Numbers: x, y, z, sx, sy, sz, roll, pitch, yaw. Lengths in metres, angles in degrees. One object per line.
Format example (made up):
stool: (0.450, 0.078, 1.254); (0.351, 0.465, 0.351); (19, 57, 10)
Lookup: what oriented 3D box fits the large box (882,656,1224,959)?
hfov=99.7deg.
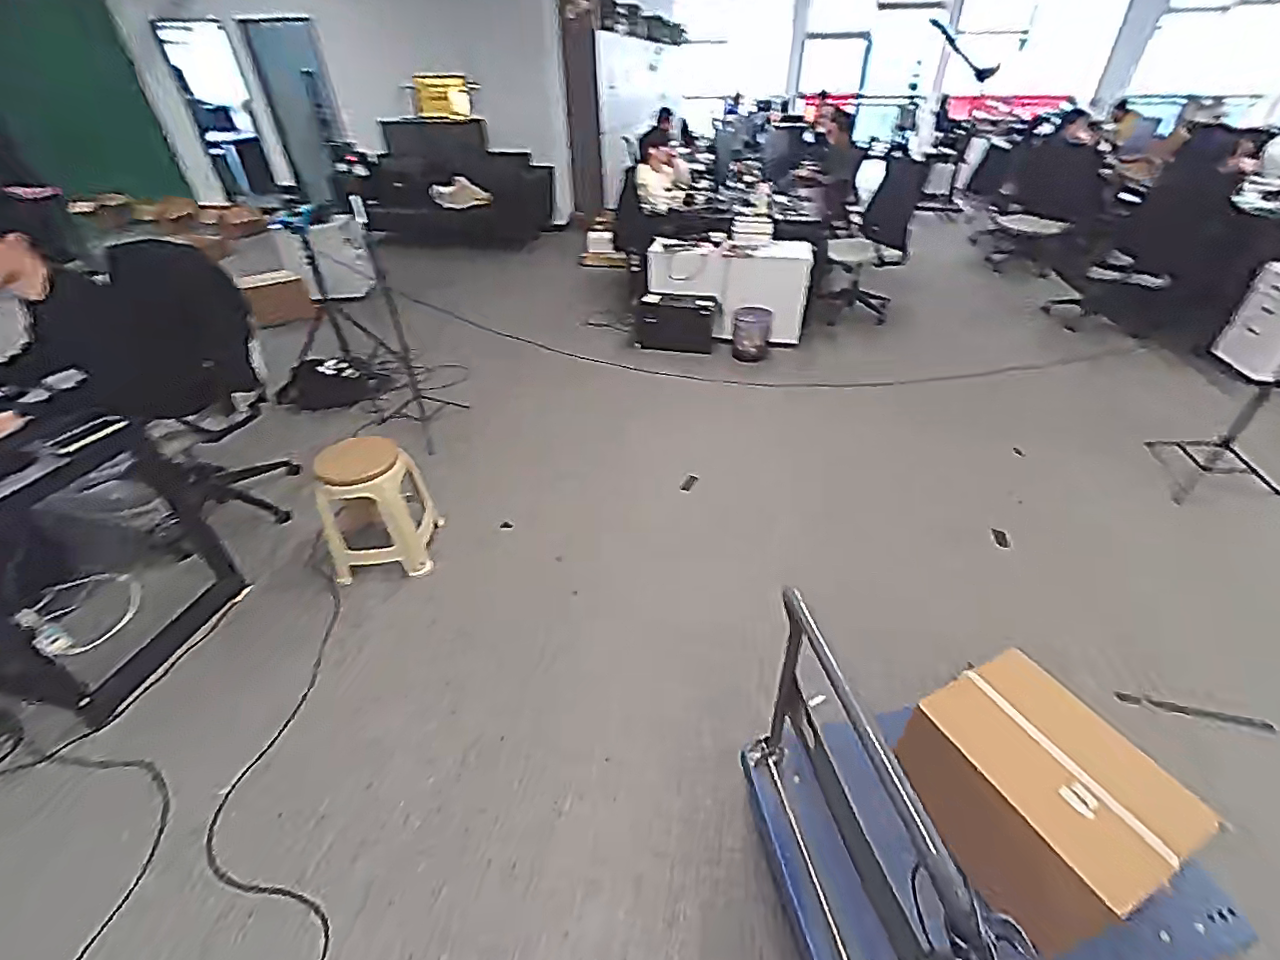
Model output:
large box: (0.795, 0.659, 1.119); (0.320, 0.320, 0.408); (-17, 41, -19)
